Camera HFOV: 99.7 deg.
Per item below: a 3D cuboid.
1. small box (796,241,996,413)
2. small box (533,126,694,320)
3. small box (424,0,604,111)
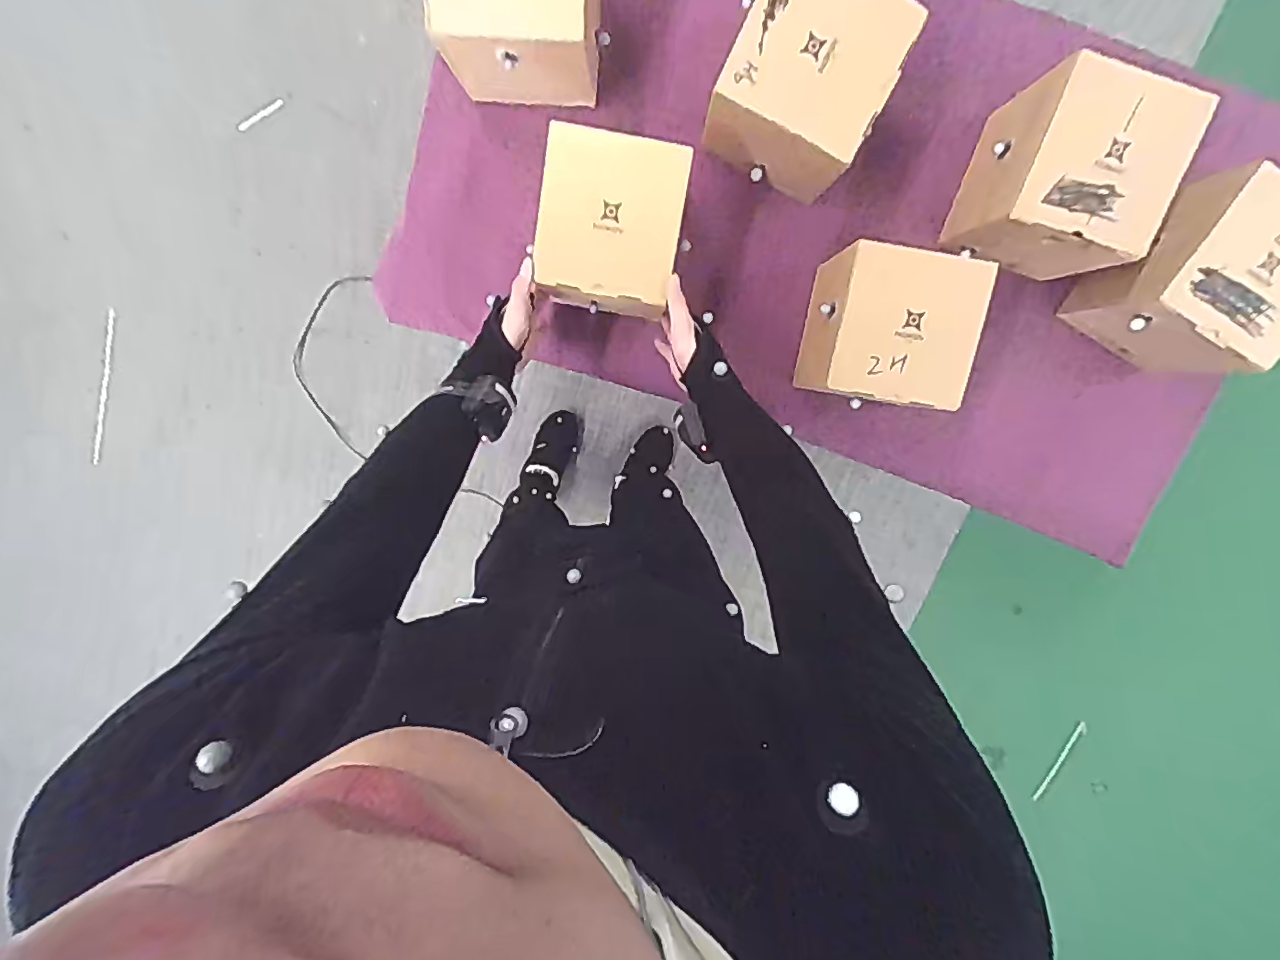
[{"bbox_3d":[0.320,-0.193,0.718,0.168,0.176,0.179,10,101,0],"label":"small box"},{"bbox_3d":[-0.034,-0.315,0.701,0.168,0.176,0.179,9,102,-3],"label":"small box"},{"bbox_3d":[-0.142,-0.574,0.651,0.179,0.176,0.168,4,103,0],"label":"small box"}]
